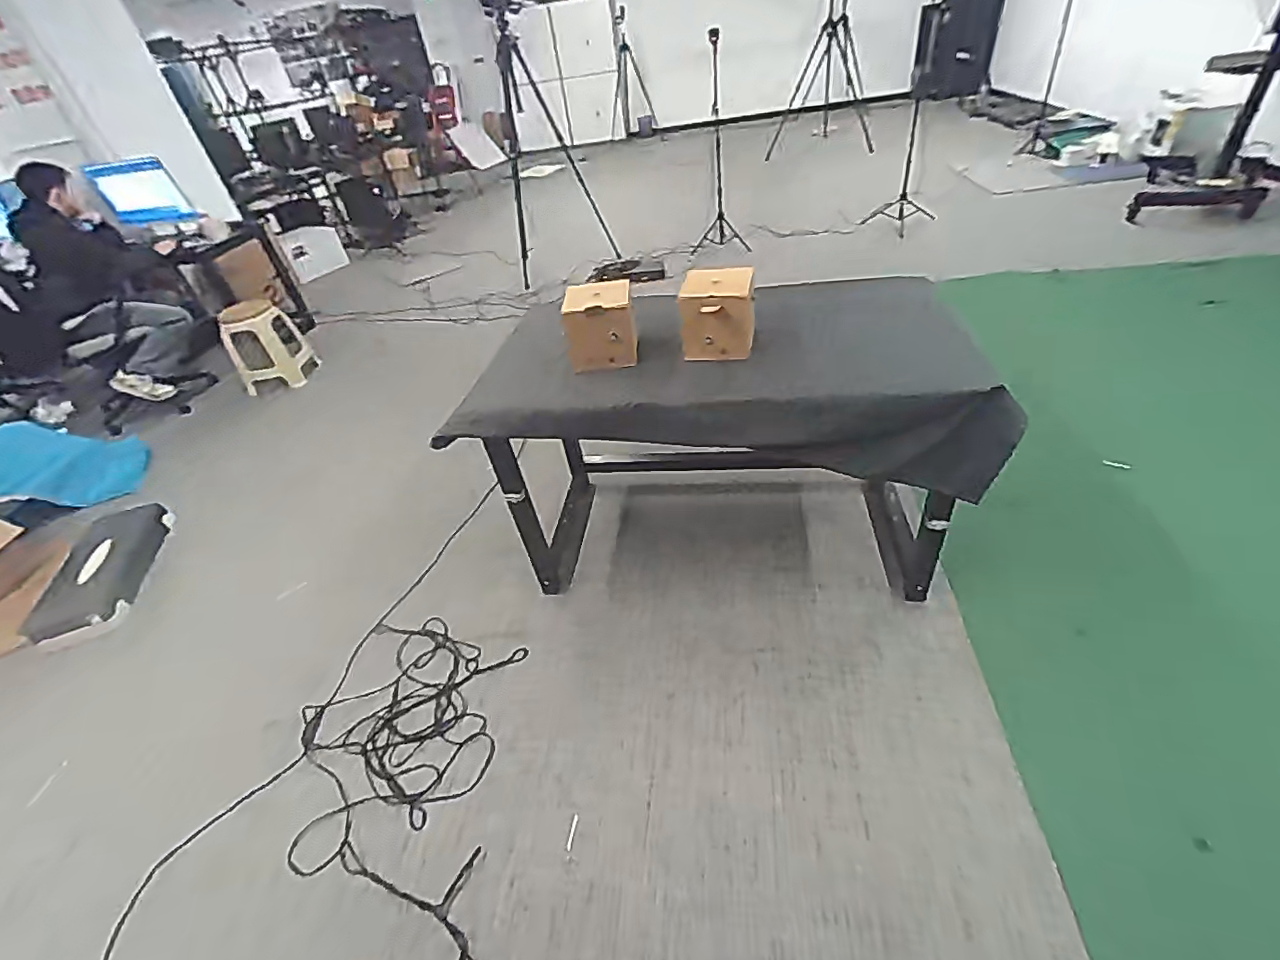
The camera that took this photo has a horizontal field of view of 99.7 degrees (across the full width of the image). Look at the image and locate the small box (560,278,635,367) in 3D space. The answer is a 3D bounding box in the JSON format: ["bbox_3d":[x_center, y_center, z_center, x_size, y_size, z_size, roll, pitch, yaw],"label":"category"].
[{"bbox_3d":[-0.101,-0.401,1.393,0.168,0.176,0.179,-5,38,4],"label":"small box"}]

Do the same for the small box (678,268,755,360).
[{"bbox_3d":[0.195,-0.418,1.354,0.168,0.176,0.179,4,41,15],"label":"small box"}]
